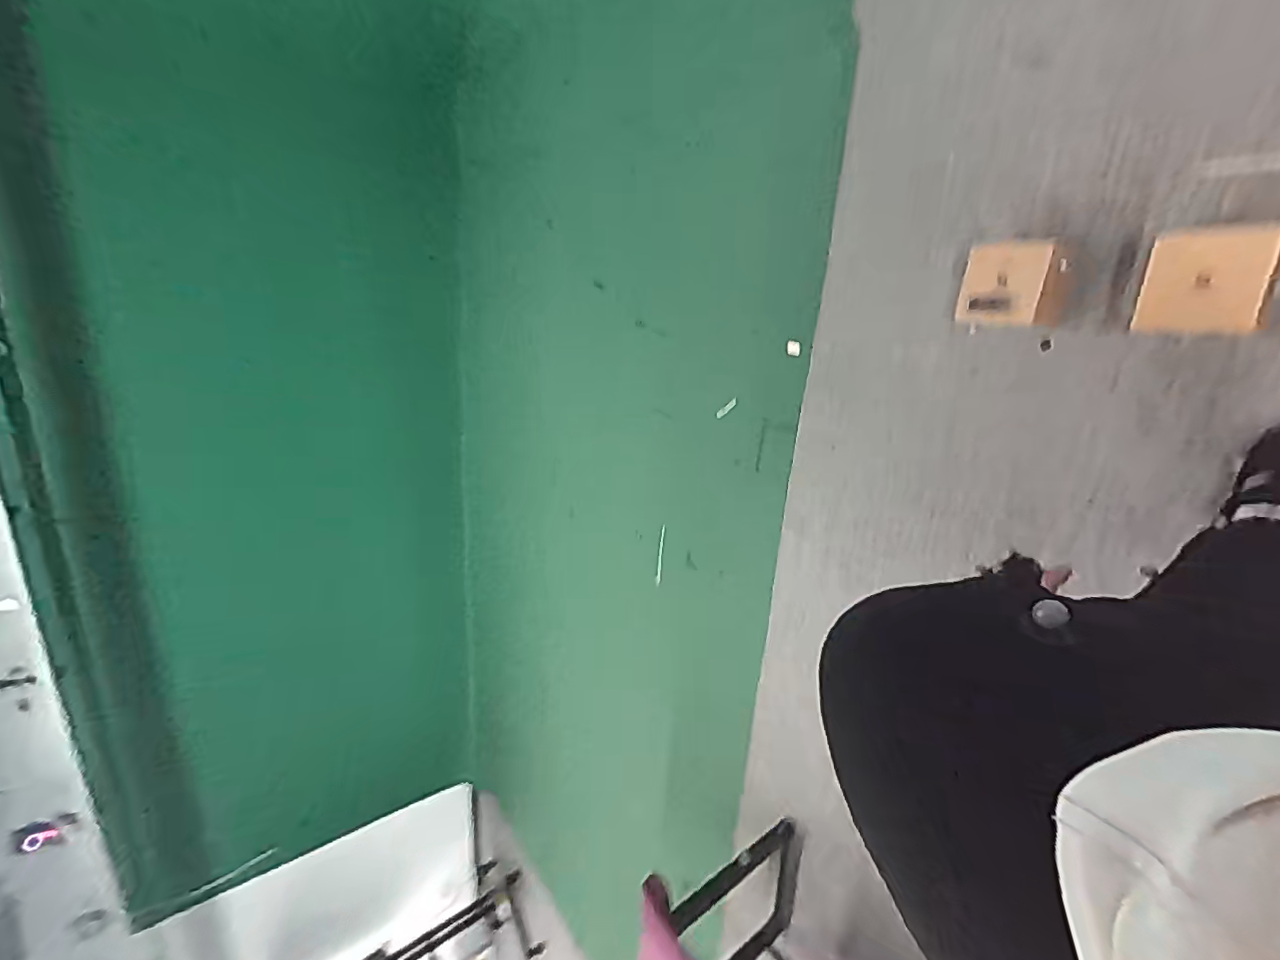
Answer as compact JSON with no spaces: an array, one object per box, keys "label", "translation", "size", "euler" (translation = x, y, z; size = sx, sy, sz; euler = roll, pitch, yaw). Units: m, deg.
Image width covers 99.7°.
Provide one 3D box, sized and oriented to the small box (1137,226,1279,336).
[{"label":"small box","translation":[1.092,-0.370,1.026],"size":[0.168,0.176,0.179],"euler":[22,115,49]}]
